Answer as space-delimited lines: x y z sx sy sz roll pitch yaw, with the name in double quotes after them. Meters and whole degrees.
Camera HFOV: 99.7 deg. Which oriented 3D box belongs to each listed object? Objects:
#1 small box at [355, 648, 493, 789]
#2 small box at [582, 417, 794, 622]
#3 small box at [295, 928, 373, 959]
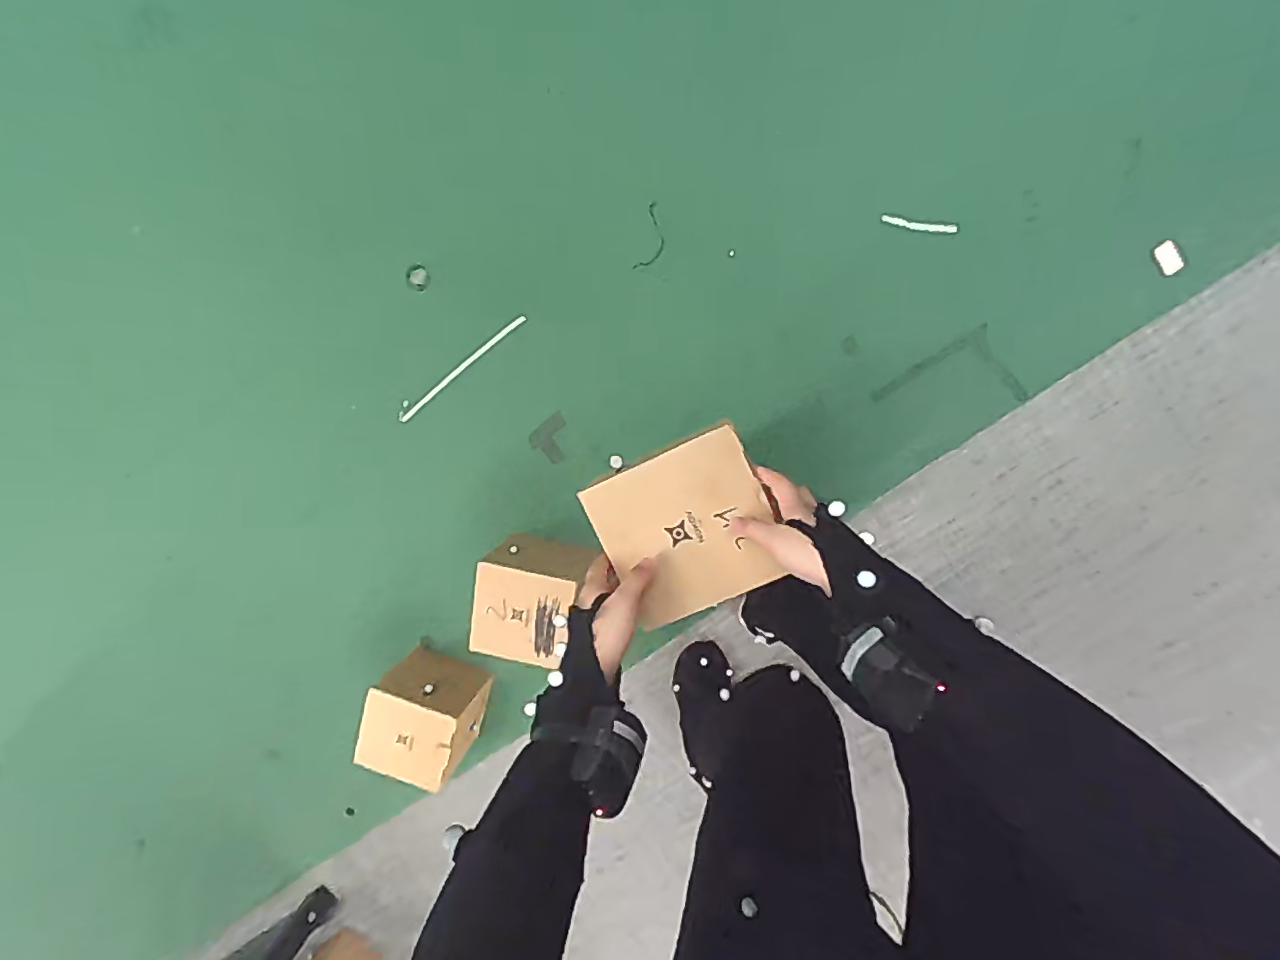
-0.417 0.456 1.063 0.179 0.176 0.168 17 102 3 "small box"
0.057 0.036 0.635 0.179 0.176 0.168 -24 96 9 "small box"
-0.726 1.195 1.243 0.168 0.176 0.179 -31 95 11 "small box"
